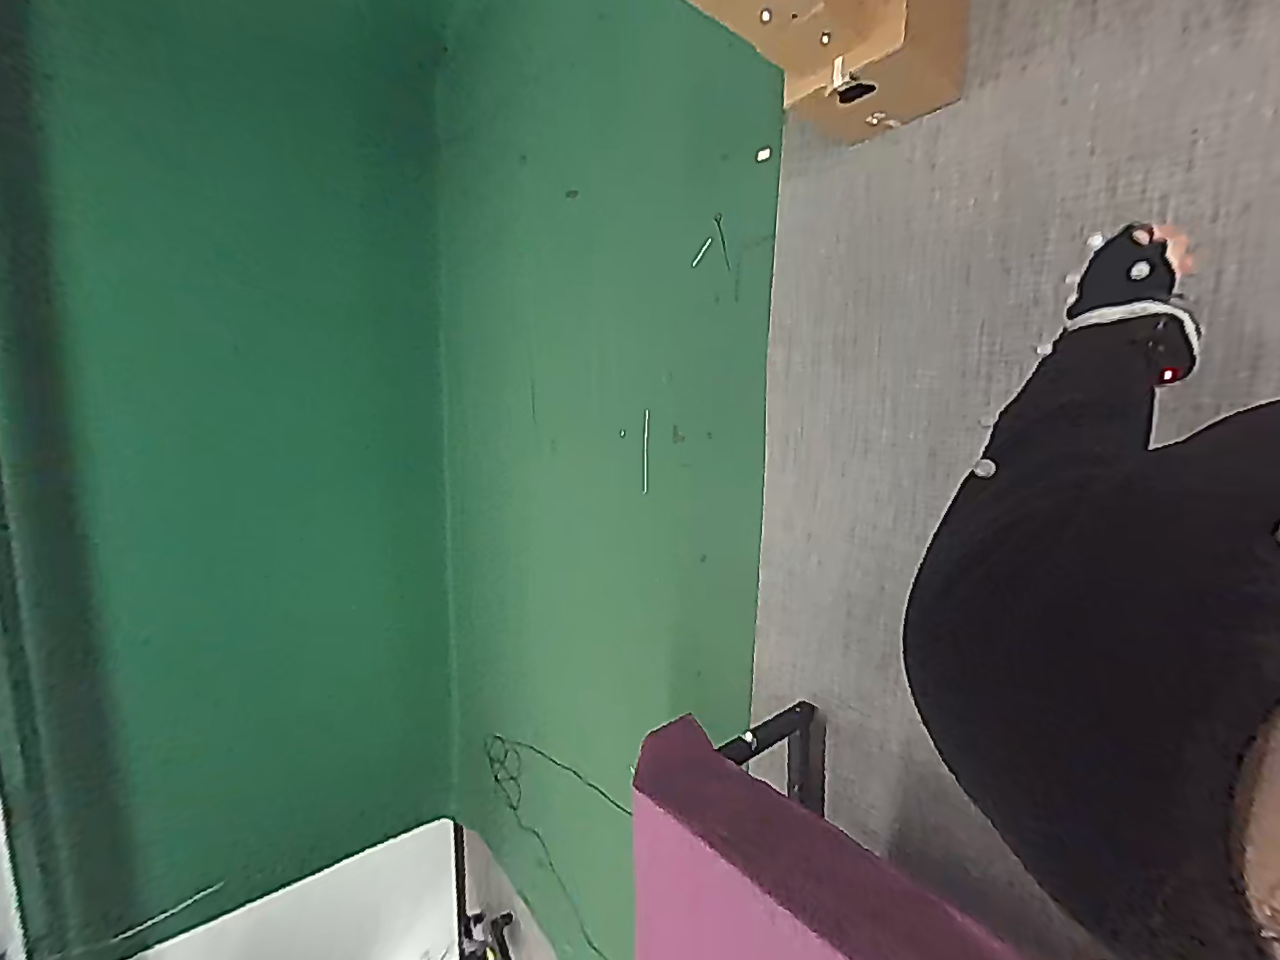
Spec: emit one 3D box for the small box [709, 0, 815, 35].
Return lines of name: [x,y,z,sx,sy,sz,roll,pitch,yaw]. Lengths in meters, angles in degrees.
small box: [0.256,-1.067,1.109,0.168,0.176,0.179,1,94,51]

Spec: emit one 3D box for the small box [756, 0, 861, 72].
small box: [0.383,-1.071,1.213,0.179,0.176,0.168,8,99,51]

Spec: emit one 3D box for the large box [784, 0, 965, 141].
large box: [0.583,-1.155,1.344,0.320,0.320,0.408,9,100,50]
